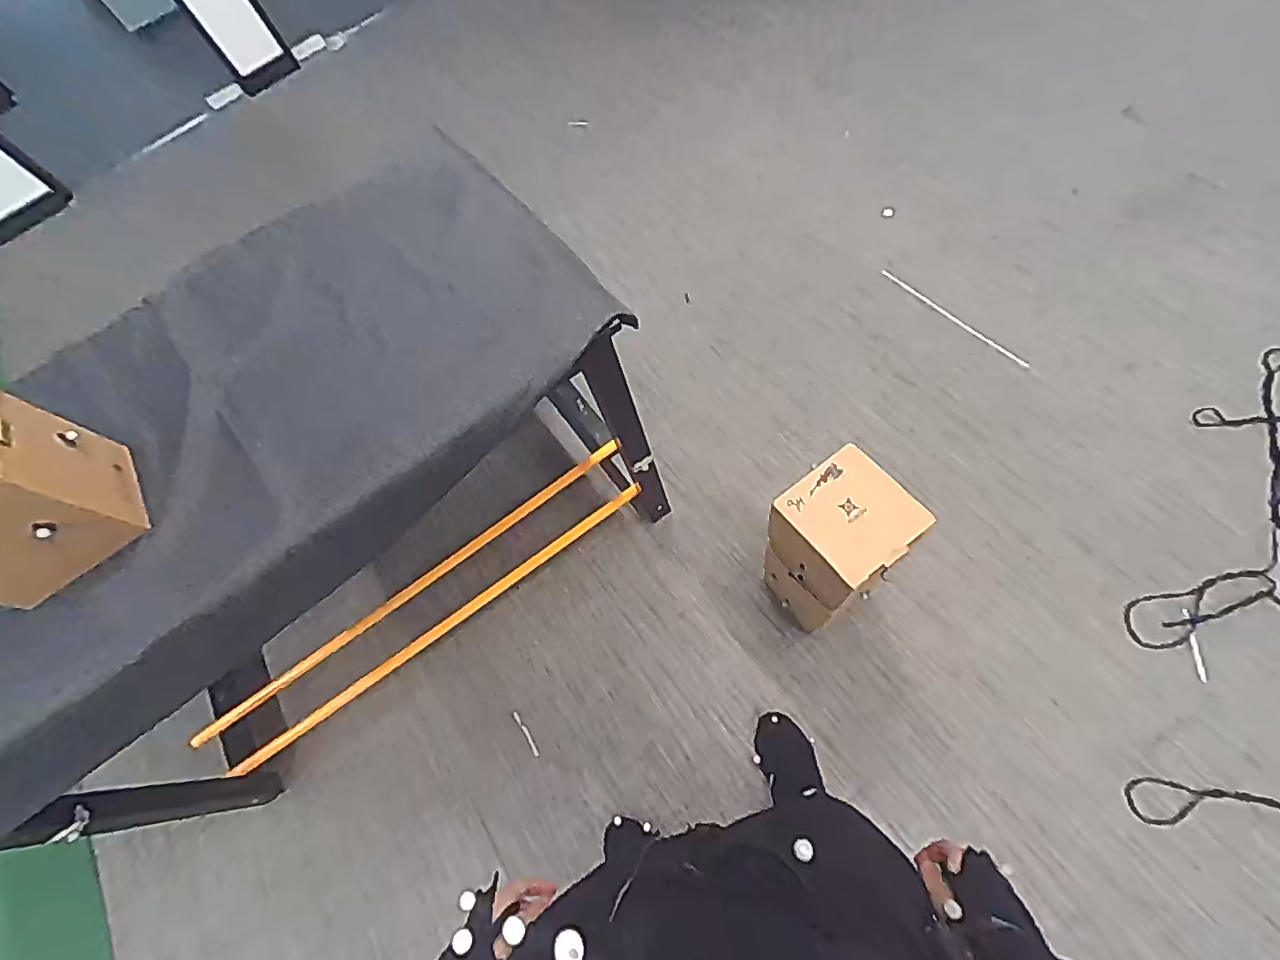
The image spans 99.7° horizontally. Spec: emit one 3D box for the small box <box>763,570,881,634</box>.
[{"bbox_3d":[0.385,0.212,1.182,0.179,0.176,0.168,-35,64,-7],"label":"small box"}]

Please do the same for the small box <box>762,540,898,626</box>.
[{"bbox_3d":[0.351,0.155,1.033,0.179,0.176,0.168,-37,65,-8],"label":"small box"}]

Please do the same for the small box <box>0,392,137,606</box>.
[{"bbox_3d":[-0.775,0.028,0.667,0.179,0.176,0.168,-37,63,-7],"label":"small box"}]

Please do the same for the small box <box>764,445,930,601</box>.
[{"bbox_3d":[0.324,0.081,0.887,0.168,0.176,0.179,-35,66,-8],"label":"small box"}]
